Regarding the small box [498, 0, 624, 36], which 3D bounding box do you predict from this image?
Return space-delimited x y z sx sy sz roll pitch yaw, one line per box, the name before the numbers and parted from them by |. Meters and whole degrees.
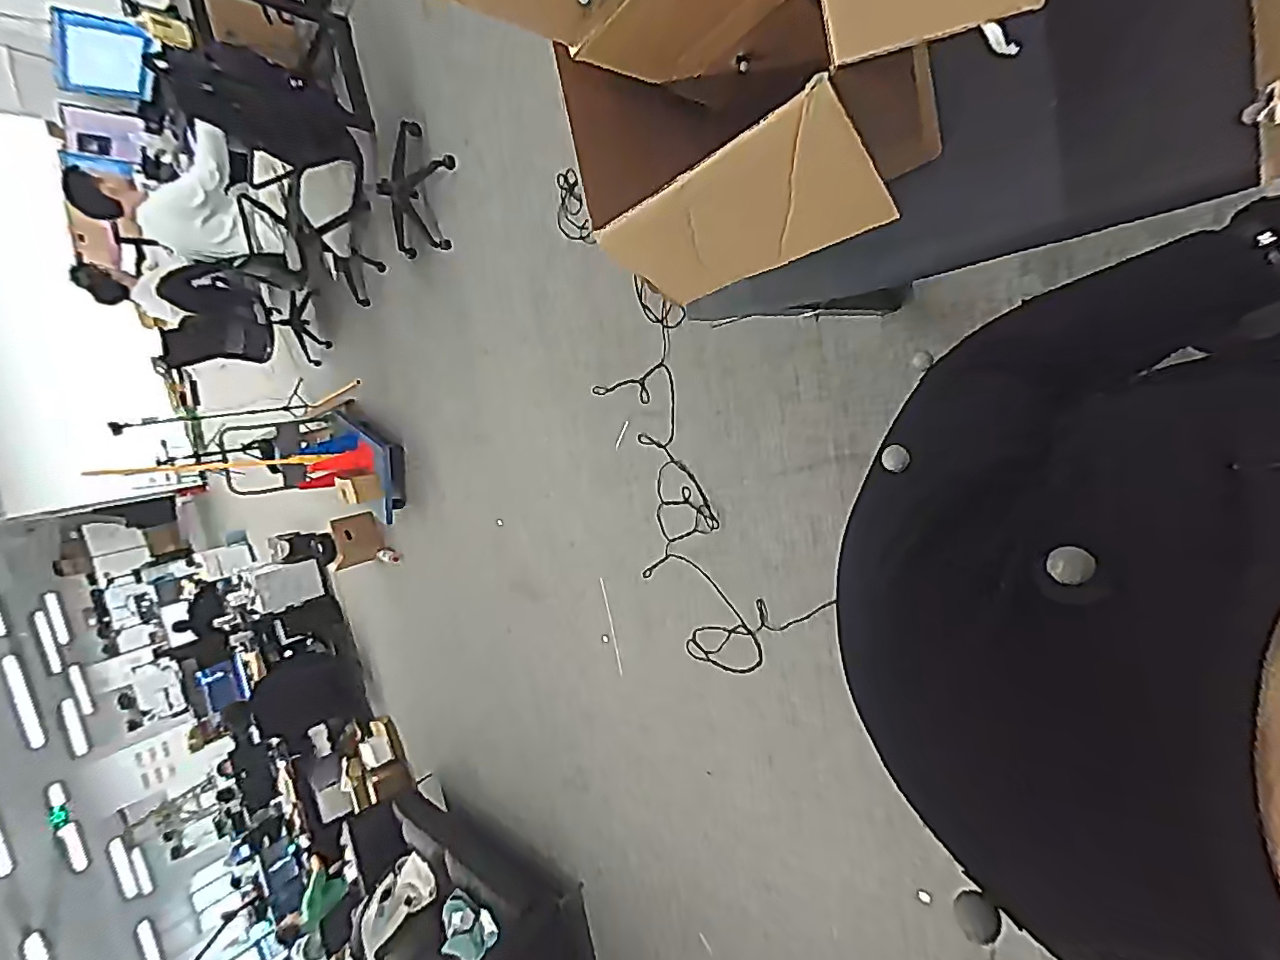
small box | -0.082 -0.521 0.441 0.168 0.176 0.179 -4 103 47
